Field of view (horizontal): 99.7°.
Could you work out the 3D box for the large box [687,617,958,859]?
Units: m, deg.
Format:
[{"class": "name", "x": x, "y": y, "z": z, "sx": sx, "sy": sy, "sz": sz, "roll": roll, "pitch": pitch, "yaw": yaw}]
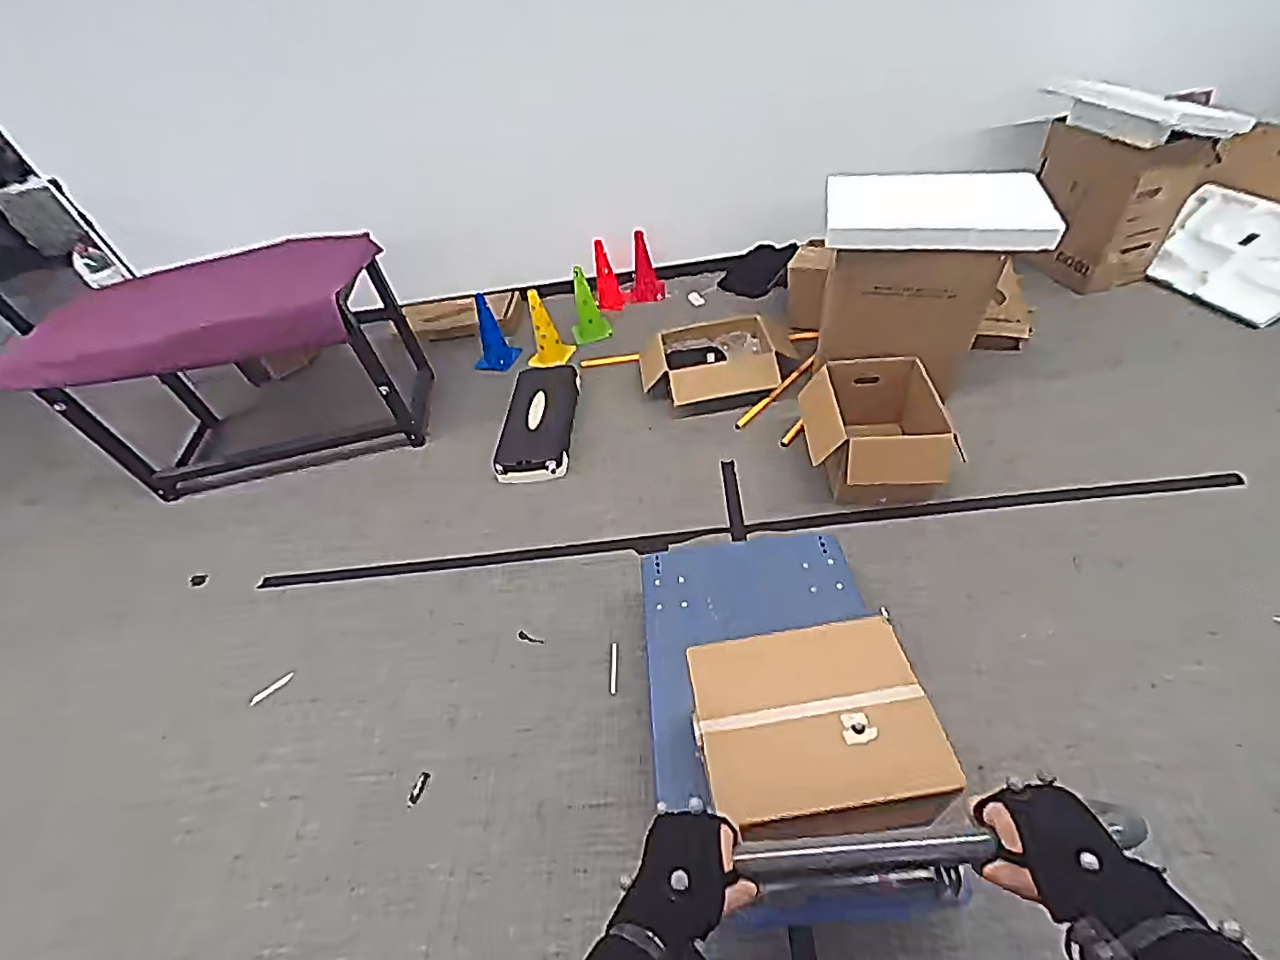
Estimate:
[{"class": "large box", "x": 0.323, "y": 0.519, "z": 1.086, "sx": 0.408, "sy": 0.320, "sz": 0.320, "roll": -9, "pitch": 46, "yaw": 0}]
